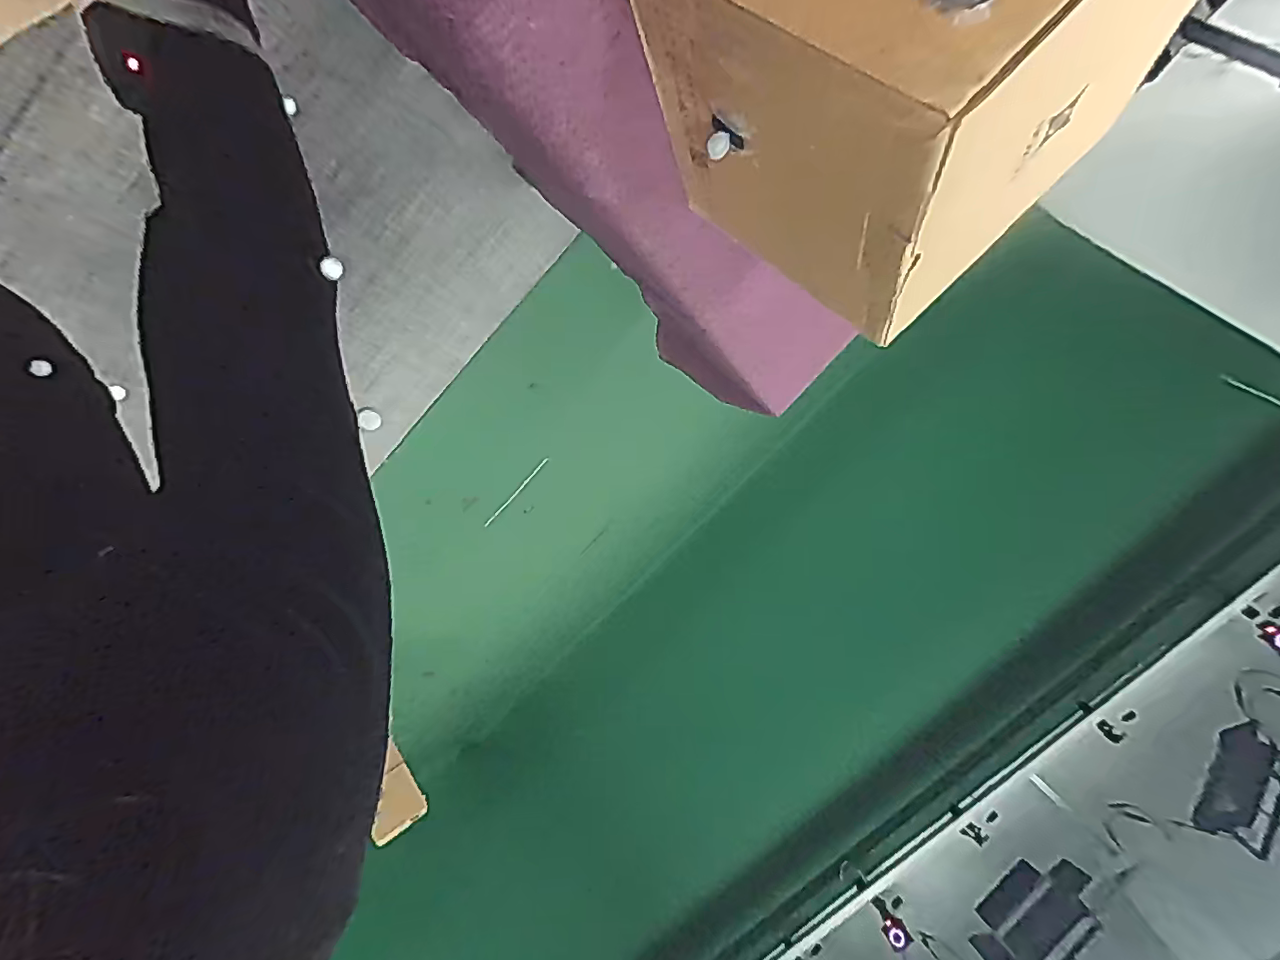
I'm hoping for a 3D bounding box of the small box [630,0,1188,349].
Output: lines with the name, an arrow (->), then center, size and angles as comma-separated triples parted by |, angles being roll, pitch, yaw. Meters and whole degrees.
small box -> 0.125, -0.207, 0.266 | 0.179, 0.176, 0.168 | -44, 161, 5
